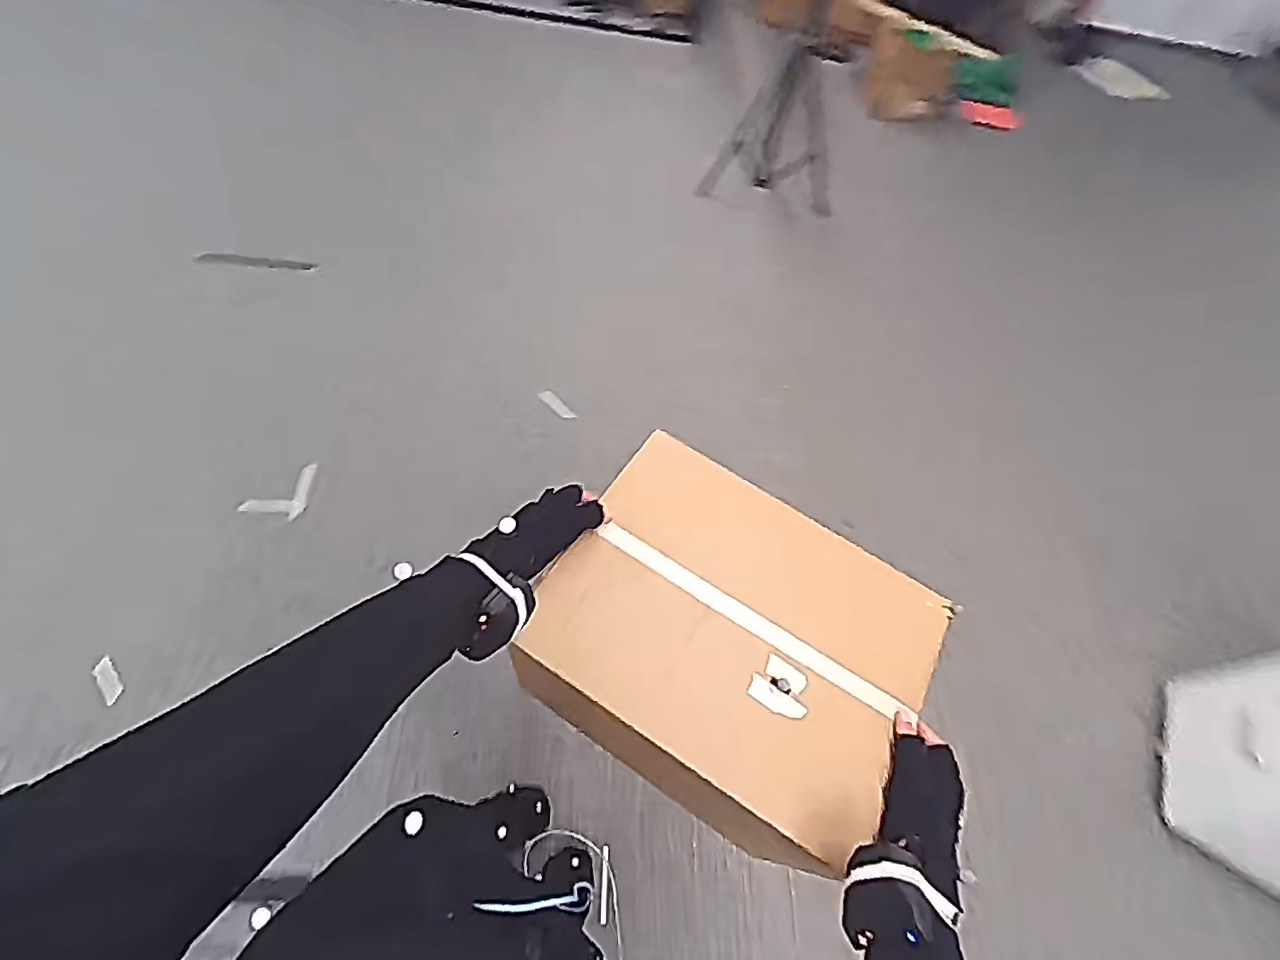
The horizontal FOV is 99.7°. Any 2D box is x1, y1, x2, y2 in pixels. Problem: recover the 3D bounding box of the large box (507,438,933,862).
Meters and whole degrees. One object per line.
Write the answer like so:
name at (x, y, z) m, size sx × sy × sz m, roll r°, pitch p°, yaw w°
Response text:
large box at (0.083, 0.219, 0.723) m, size 0.408 × 0.320 × 0.320 m, roll 31°, pitch 62°, yaw 9°
